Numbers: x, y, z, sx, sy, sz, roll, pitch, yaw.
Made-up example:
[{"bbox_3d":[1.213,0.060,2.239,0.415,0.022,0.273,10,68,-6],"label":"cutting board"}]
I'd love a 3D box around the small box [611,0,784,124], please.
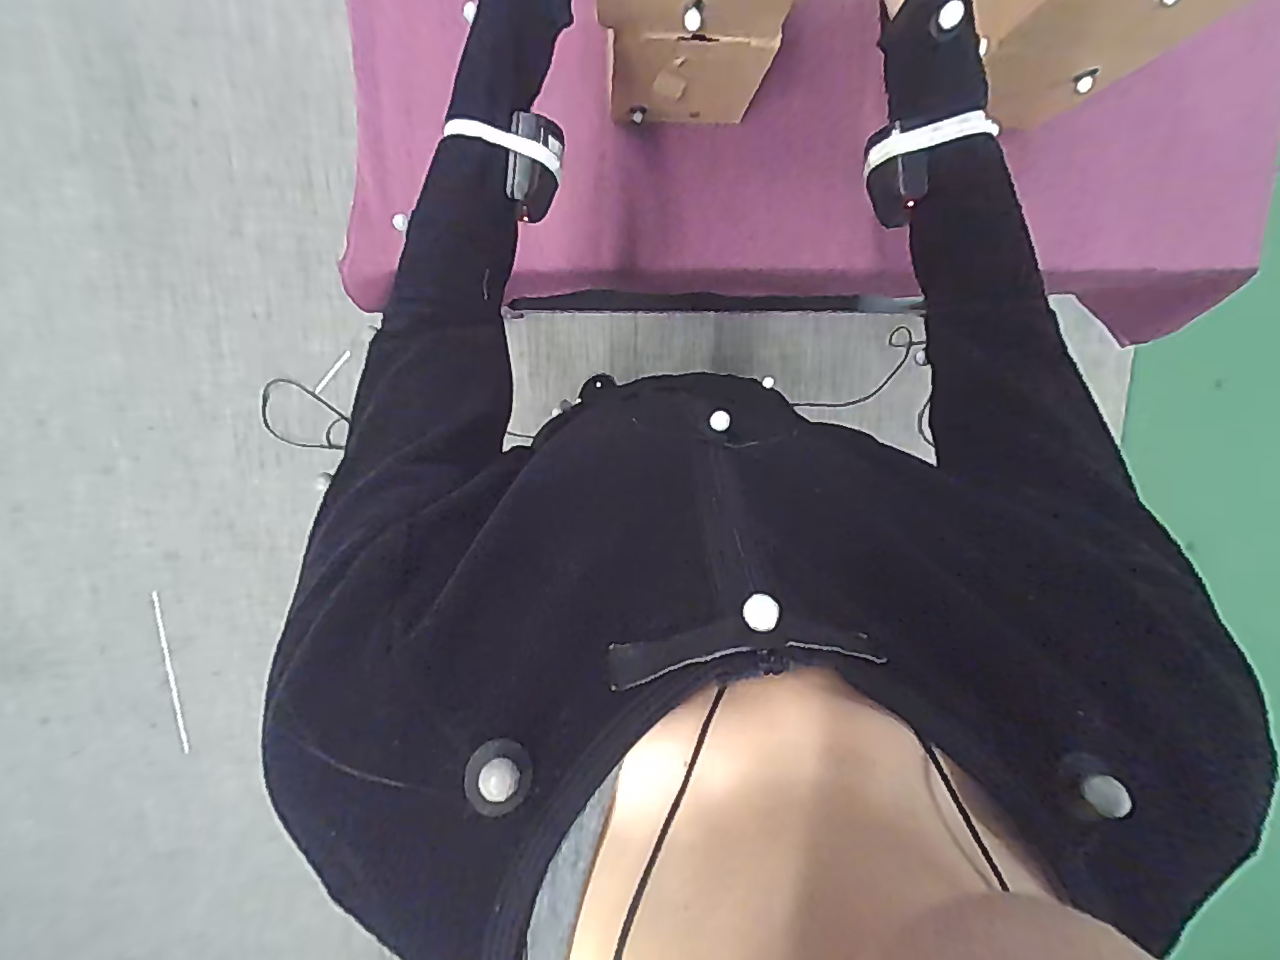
[{"bbox_3d":[0.054,-0.519,0.589,0.168,0.176,0.179,-1,99,-4],"label":"small box"}]

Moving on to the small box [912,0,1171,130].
[{"bbox_3d":[0.446,-0.525,0.613,0.179,0.176,0.168,0,100,-4],"label":"small box"}]
